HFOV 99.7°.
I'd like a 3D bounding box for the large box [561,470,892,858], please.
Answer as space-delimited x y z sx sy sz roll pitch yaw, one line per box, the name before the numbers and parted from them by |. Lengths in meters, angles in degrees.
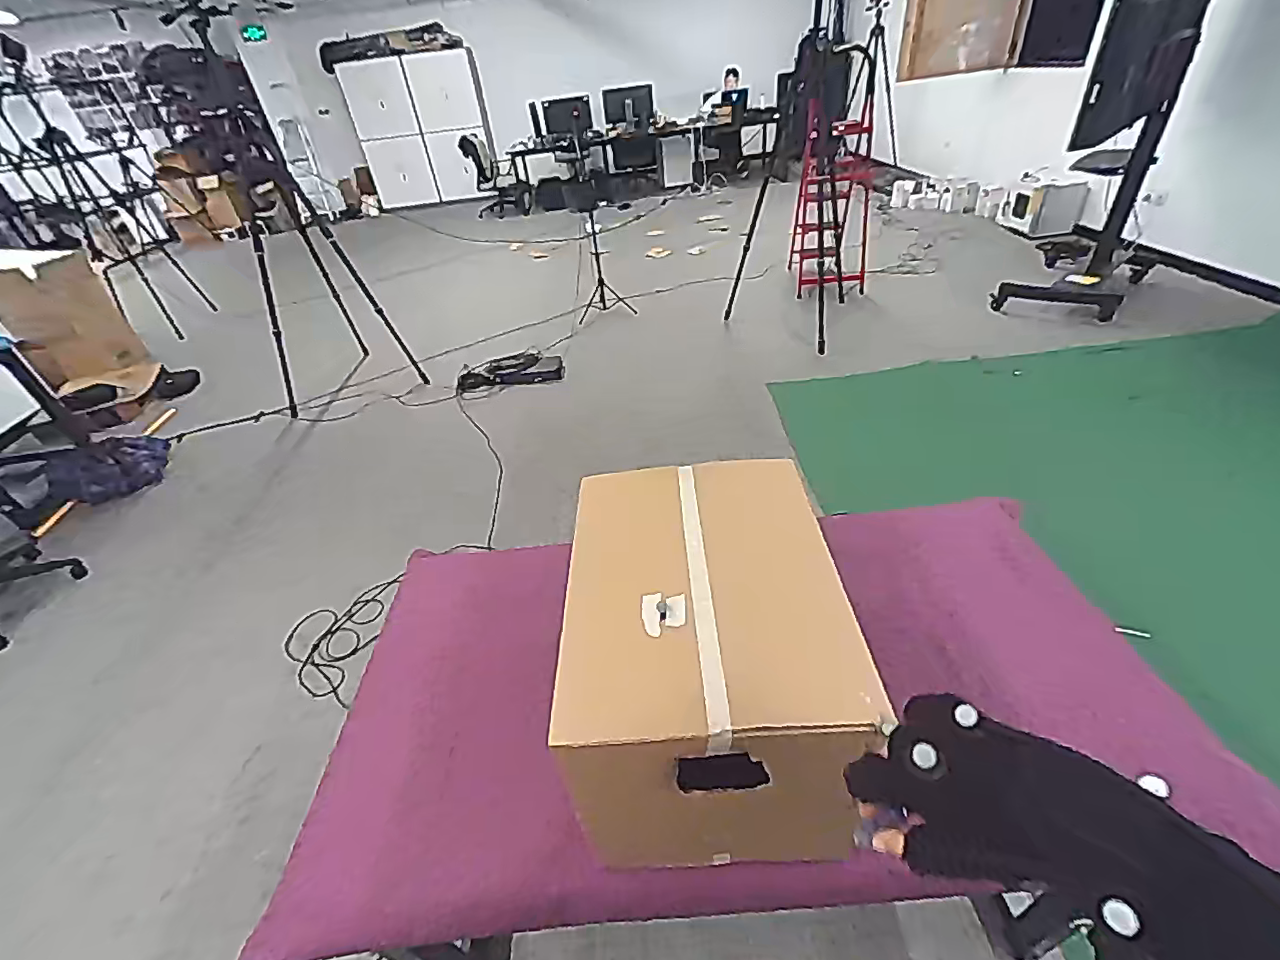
large box | 0.086 0.232 0.742 0.320 0.320 0.408 -5 38 3
